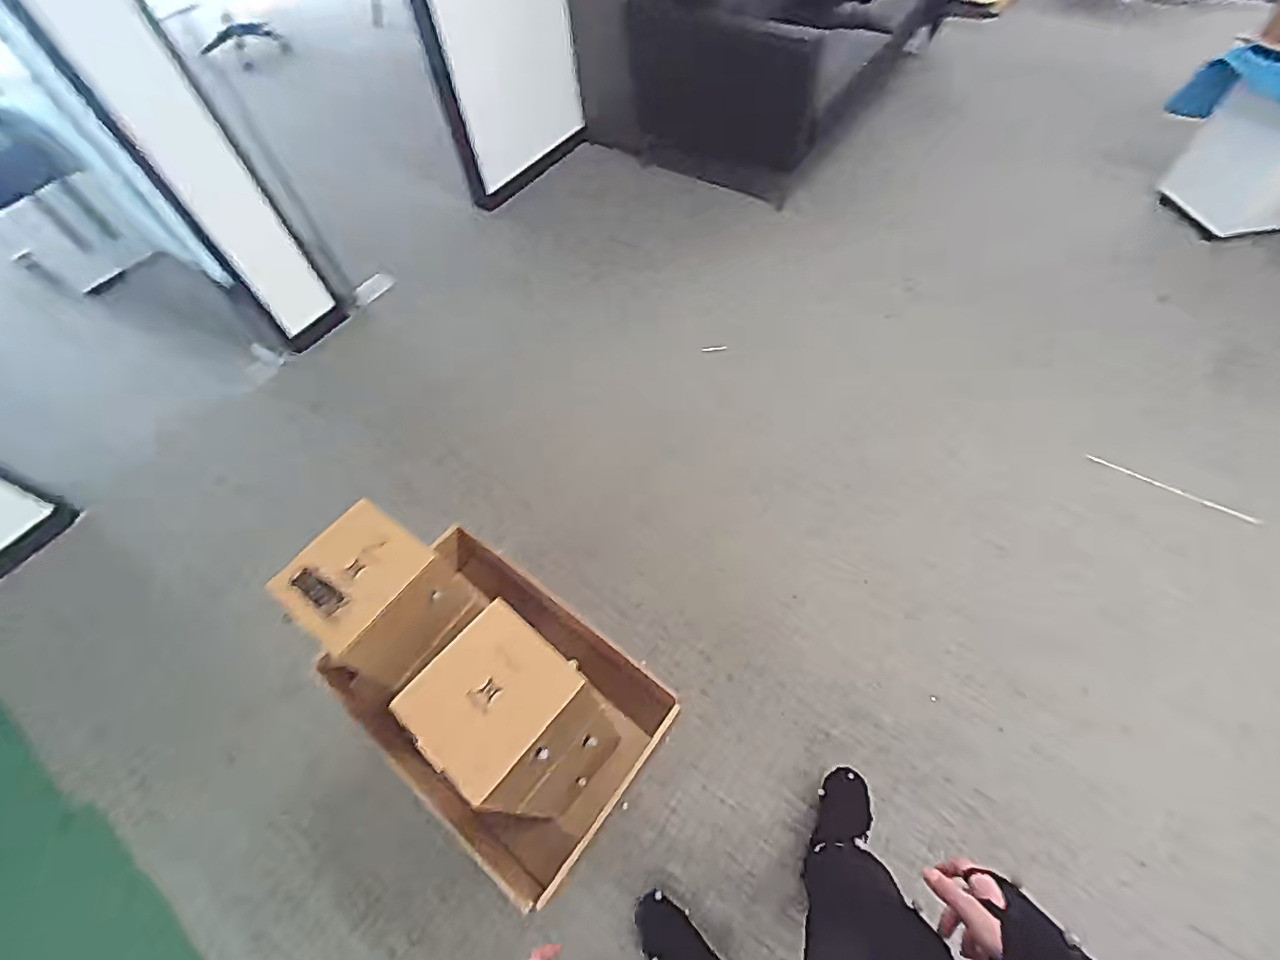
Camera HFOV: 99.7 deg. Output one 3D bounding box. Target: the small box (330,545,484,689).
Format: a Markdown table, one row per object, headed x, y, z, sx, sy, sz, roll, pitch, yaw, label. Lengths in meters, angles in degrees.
| x | y | z | sx | sy | sz | roll | pitch | yaw | label |
| --- | --- | --- | --- | --- | --- | --- | --- | --- | --- |
| -0.381 | 0.250 | 0.941 | 0.168 | 0.176 | 0.179 | 31 | 66 | 20 | small box |

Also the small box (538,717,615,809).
| x | y | z | sx | sy | sz | roll | pitch | yaw | label |
| --- | --- | --- | --- | --- | --- | --- | --- | --- | --- |
| -0.160 | 0.466 | 0.984 | 0.168 | 0.176 | 0.179 | 34 | 66 | 22 | small box |

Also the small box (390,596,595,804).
| x | y | z | sx | sy | sz | roll | pitch | yaw | label |
| --- | --- | --- | --- | --- | --- | --- | --- | --- | --- |
| -0.177 | 0.292 | 0.707 | 0.168 | 0.176 | 0.179 | 36 | 66 | 23 | small box |

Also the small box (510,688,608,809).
| x | y | z | sx | sy | sz | roll | pitch | yaw | label |
| --- | --- | --- | --- | --- | --- | --- | --- | --- | --- |
| -0.165 | 0.378 | 0.844 | 0.168 | 0.176 | 0.179 | 34 | 66 | 23 | small box |
